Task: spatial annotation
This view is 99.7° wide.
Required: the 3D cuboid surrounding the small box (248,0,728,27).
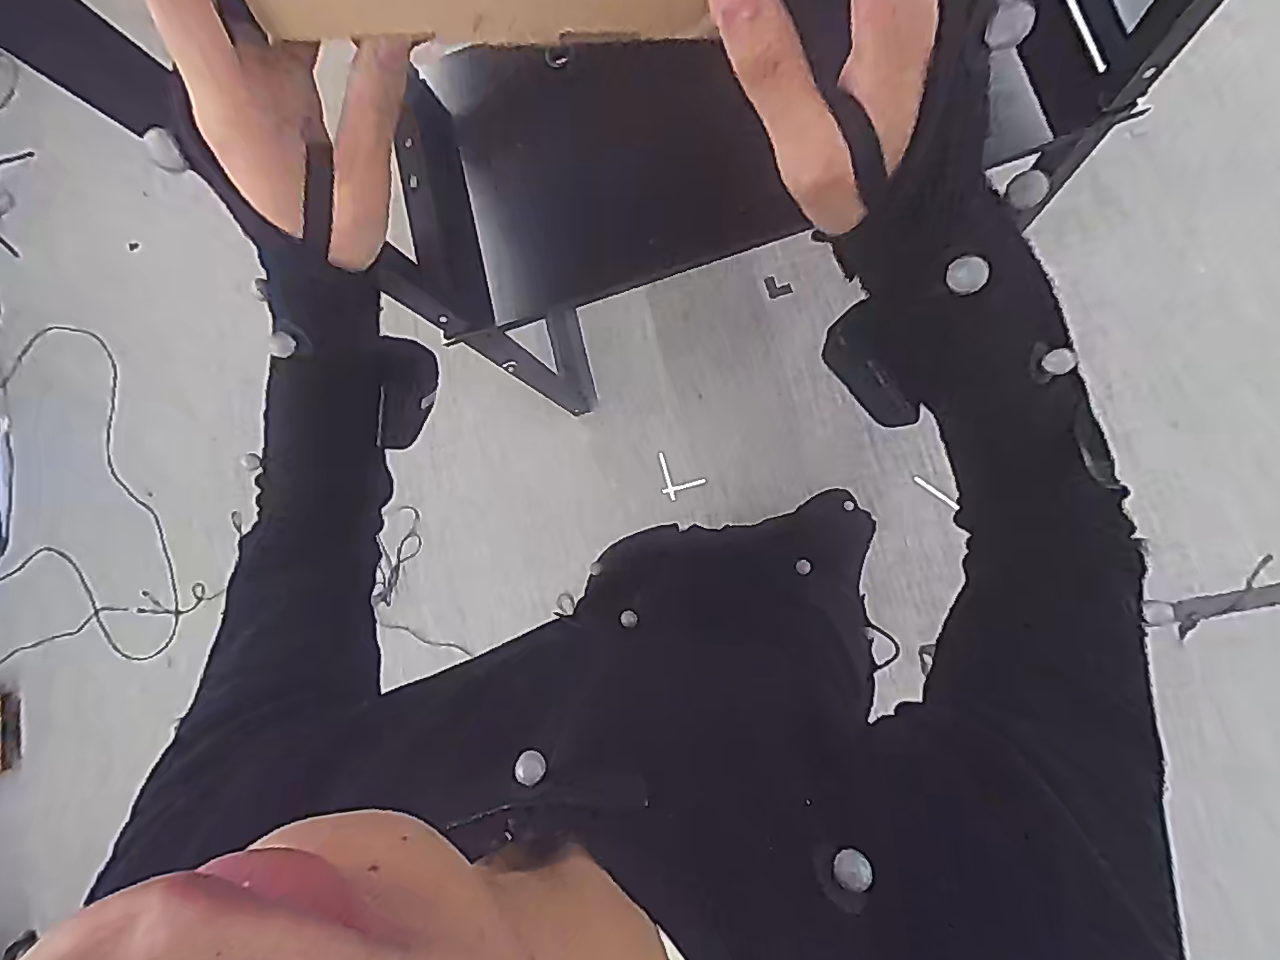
[{"bbox_3d":[-0.049,-0.266,0.140,0.168,0.179,0.176,2,66,1],"label":"small box"}]
